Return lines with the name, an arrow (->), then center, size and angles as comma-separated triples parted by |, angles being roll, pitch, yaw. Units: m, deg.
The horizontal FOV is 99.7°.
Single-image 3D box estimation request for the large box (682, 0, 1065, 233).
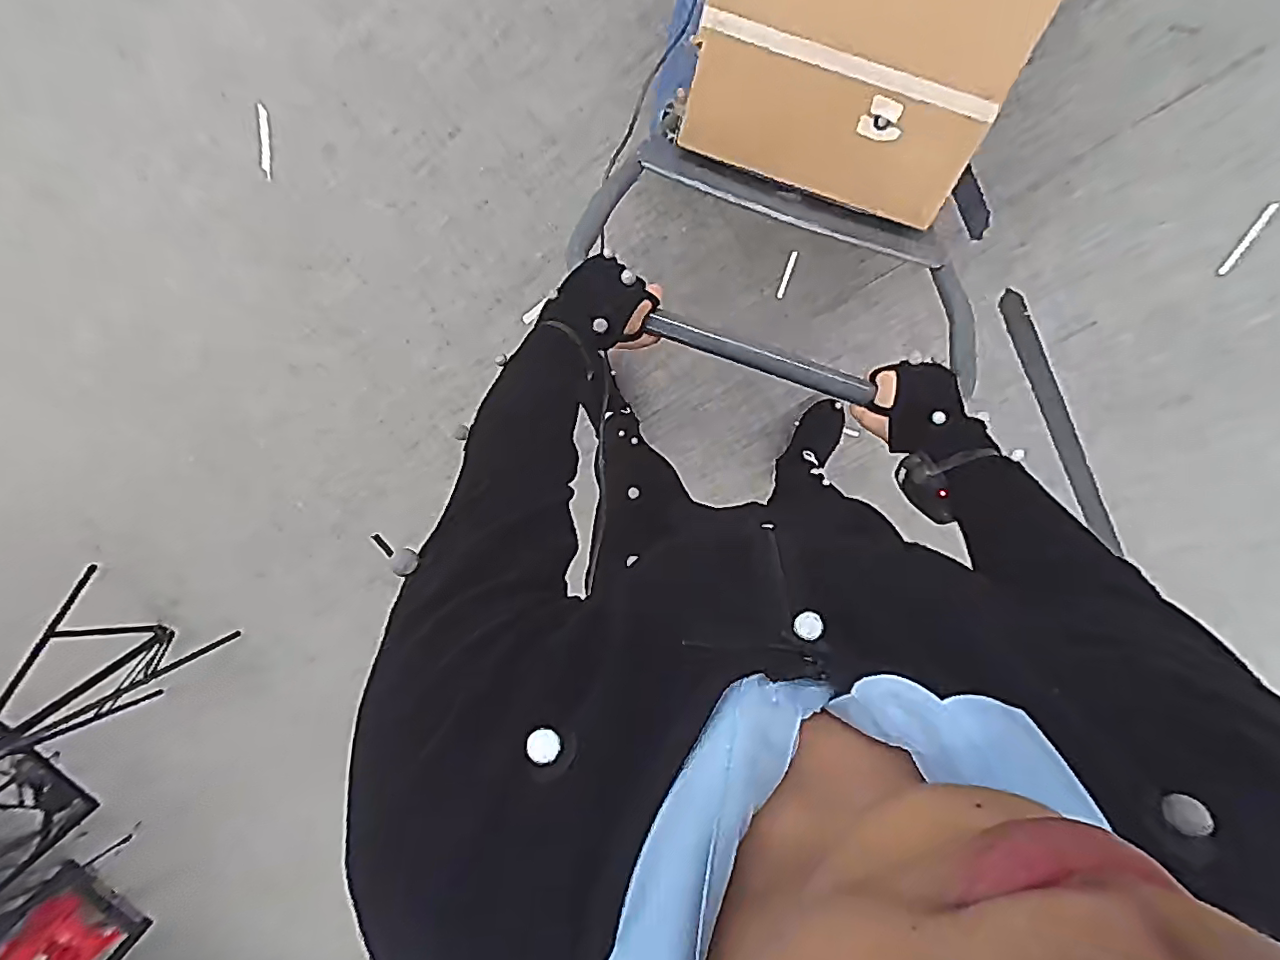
large box -> 0.312, -0.635, 0.829 | 0.408, 0.320, 0.320 | 19, 133, -1
